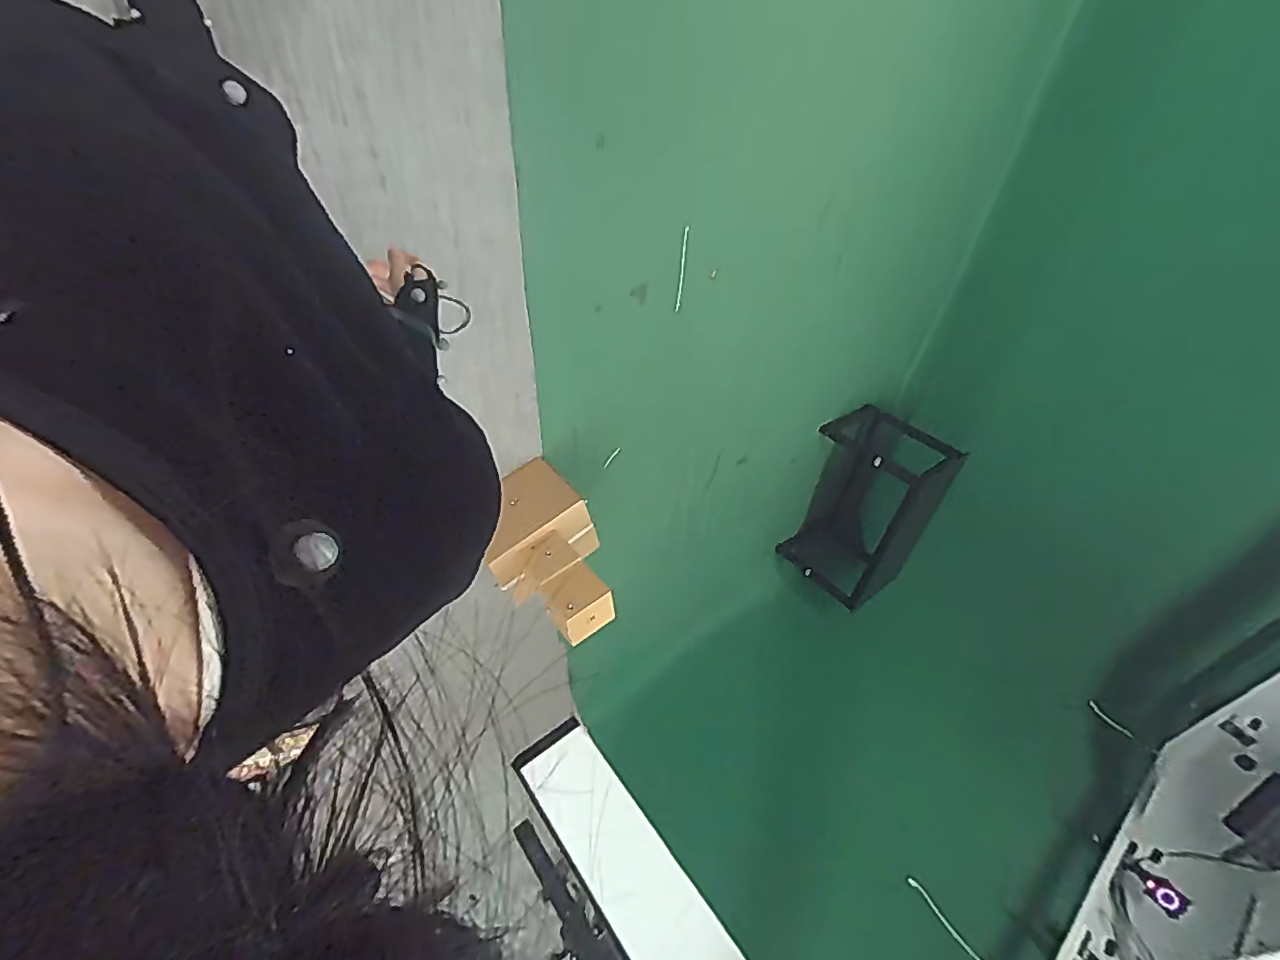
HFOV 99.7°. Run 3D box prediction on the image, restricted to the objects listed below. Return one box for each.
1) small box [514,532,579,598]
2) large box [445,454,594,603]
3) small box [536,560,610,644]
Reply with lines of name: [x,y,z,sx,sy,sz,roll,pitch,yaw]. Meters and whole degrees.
small box: [-0.319,0.305,1.886,0.168,0.176,0.179,-31,141,-23]
large box: [-0.449,0.179,2.057,0.408,0.320,0.320,-37,145,-20]
small box: [-0.221,0.399,1.797,0.179,0.176,0.168,-31,141,-24]
